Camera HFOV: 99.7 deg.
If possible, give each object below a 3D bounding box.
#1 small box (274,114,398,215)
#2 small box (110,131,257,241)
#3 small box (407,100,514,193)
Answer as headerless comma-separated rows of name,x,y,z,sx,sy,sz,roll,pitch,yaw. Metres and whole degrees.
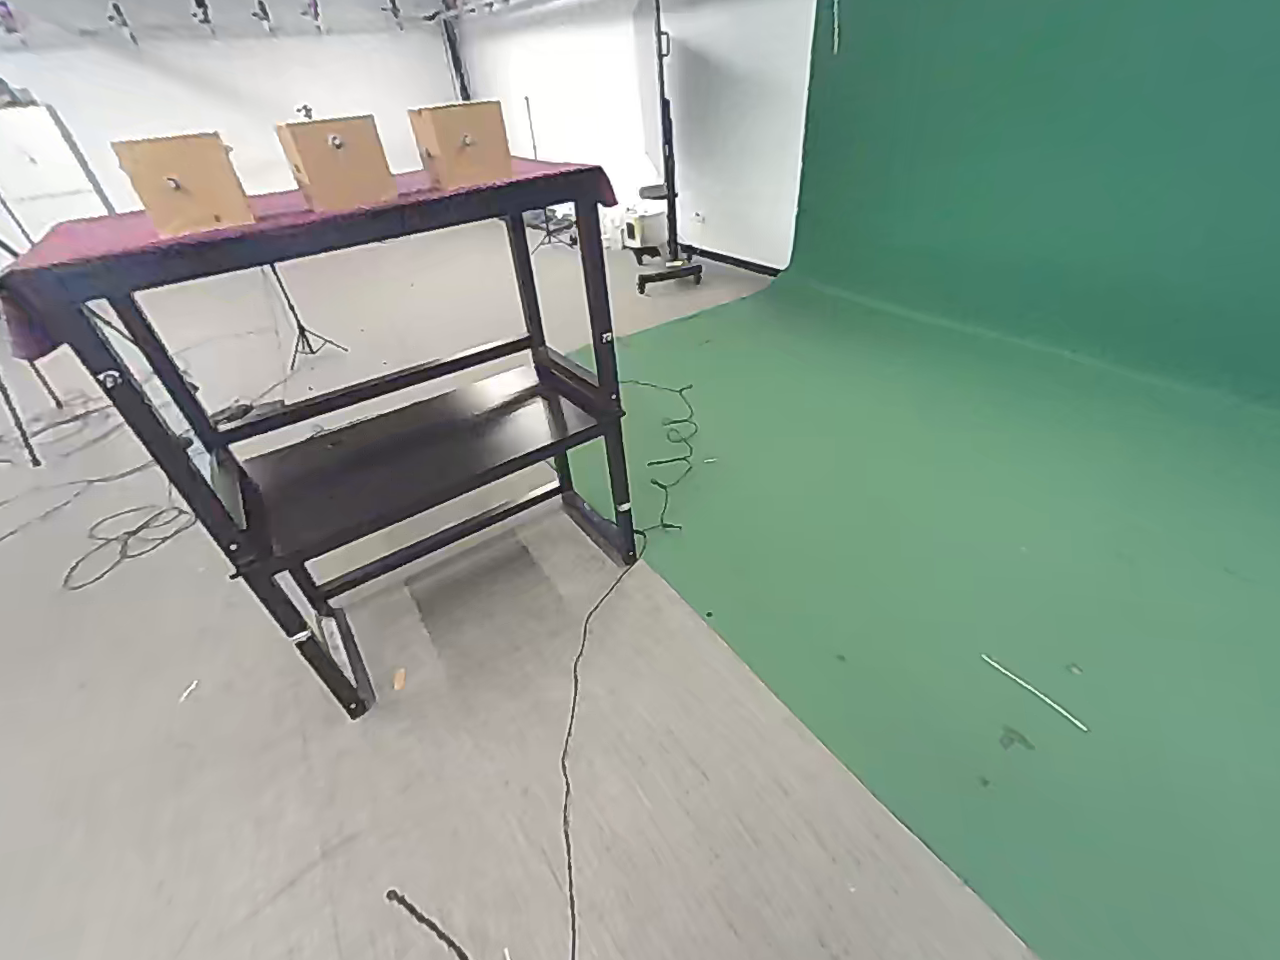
small box,-0.674,-0.702,1.206,0.179,0.176,0.168,-27,42,-27
small box,-0.905,-0.593,1.092,0.168,0.176,0.179,-24,39,-22
small box,-0.433,-0.813,1.319,0.179,0.176,0.168,-28,43,-24
